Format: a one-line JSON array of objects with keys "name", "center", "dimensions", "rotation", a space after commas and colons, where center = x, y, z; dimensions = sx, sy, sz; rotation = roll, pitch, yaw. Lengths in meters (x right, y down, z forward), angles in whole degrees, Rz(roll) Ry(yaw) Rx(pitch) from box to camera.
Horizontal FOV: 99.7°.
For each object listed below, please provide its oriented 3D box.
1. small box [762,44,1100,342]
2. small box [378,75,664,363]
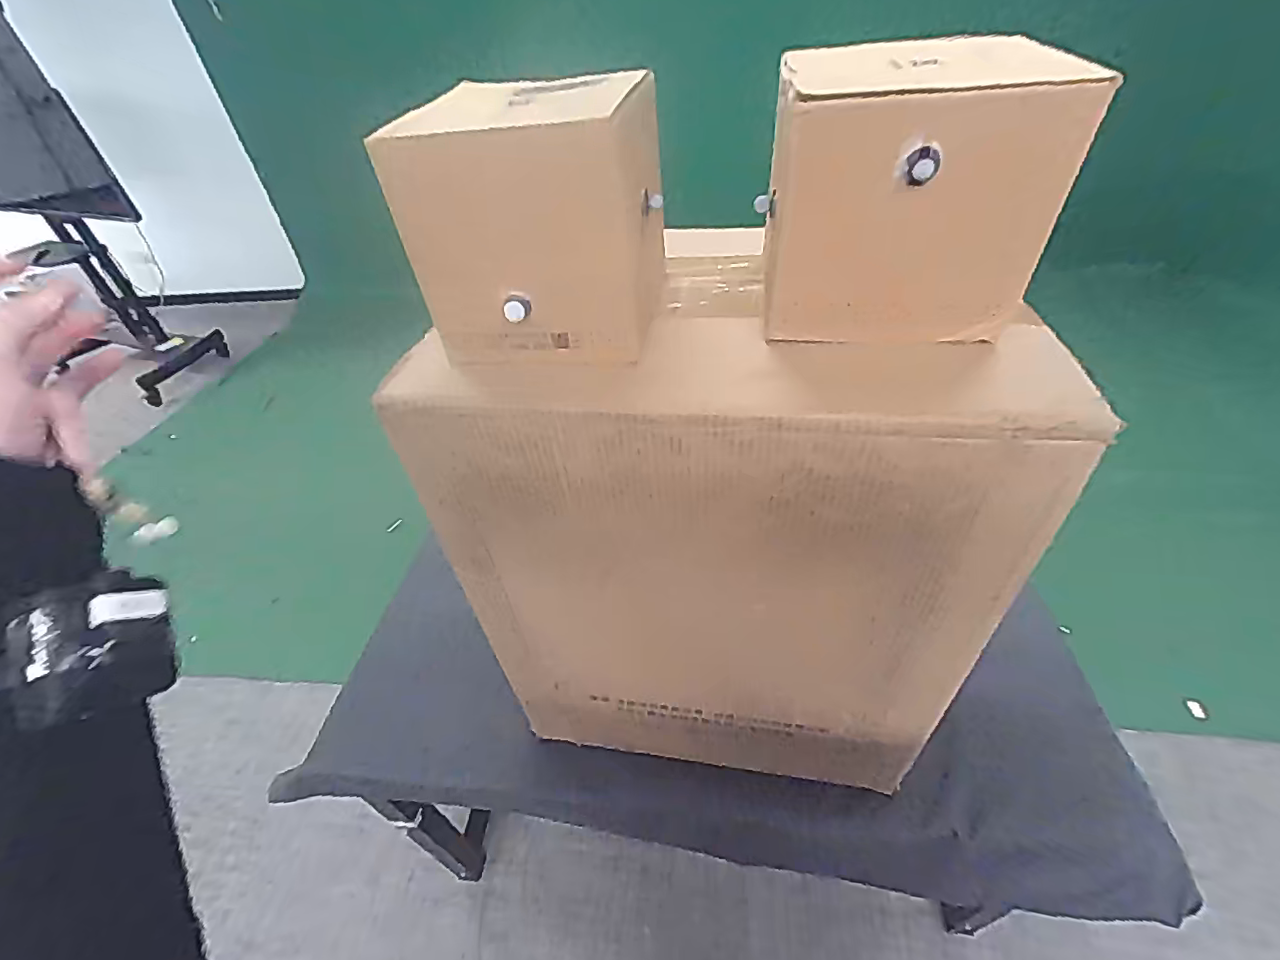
[{"name": "small box", "center": [0.191, -0.223, 0.427], "dimensions": [0.179, 0.176, 0.168], "rotation": [4, 46, 8]}, {"name": "small box", "center": [-0.073, -0.217, 0.452], "dimensions": [0.168, 0.176, 0.179], "rotation": [2, 45, 11]}]
